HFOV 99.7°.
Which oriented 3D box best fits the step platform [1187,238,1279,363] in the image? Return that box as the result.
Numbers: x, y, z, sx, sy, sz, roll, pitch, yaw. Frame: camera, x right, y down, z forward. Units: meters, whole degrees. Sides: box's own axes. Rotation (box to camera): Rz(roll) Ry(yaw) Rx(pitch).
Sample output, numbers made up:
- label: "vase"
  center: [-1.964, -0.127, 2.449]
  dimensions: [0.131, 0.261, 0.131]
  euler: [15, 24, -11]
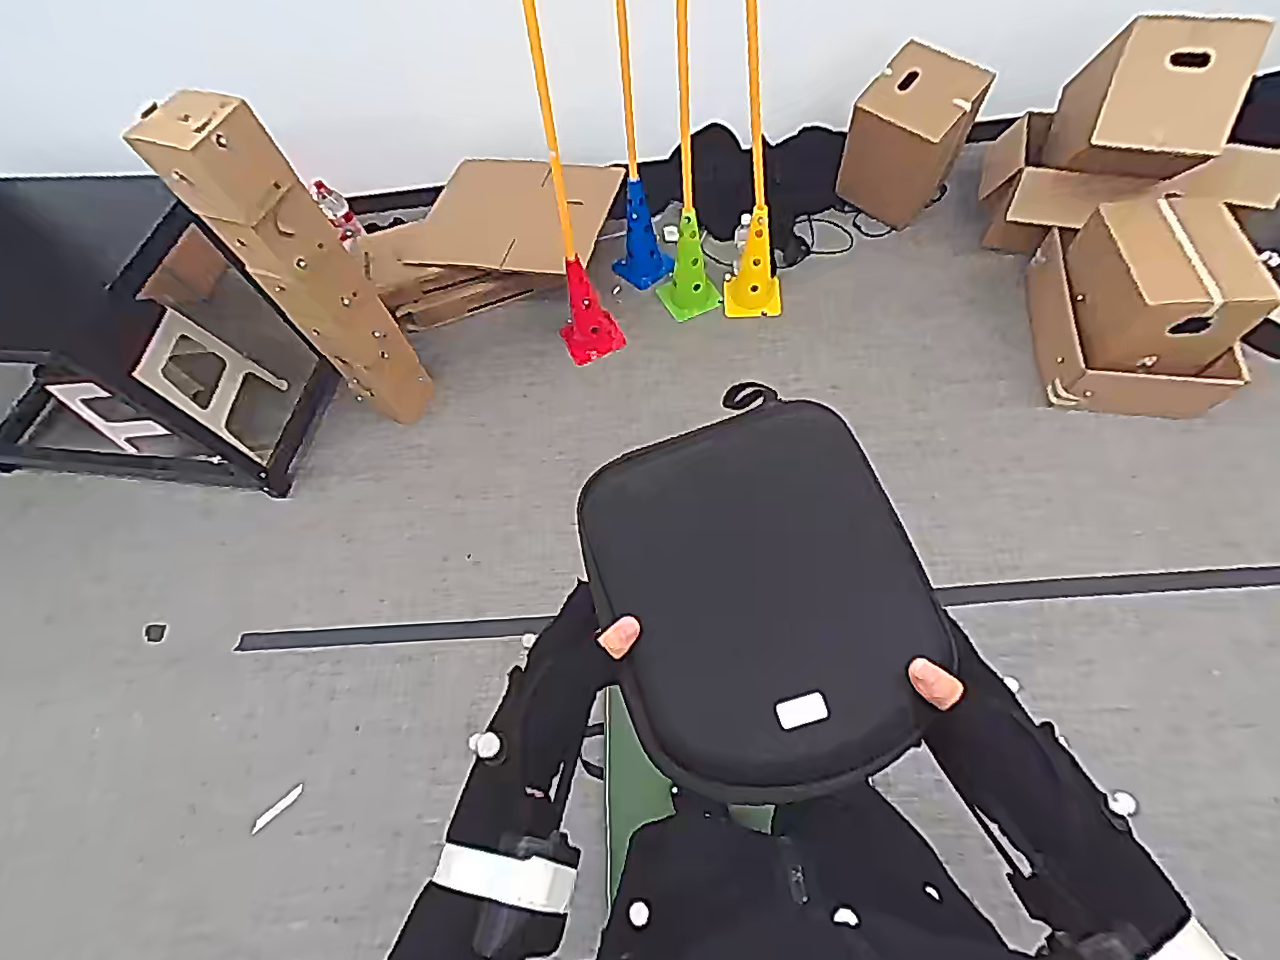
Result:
- label: "step platform"
  center: [2.121, -0.648, 1.687]
  dimensions: [0.684, 0.204, 0.286]
  euler: [-30, 63, -9]
